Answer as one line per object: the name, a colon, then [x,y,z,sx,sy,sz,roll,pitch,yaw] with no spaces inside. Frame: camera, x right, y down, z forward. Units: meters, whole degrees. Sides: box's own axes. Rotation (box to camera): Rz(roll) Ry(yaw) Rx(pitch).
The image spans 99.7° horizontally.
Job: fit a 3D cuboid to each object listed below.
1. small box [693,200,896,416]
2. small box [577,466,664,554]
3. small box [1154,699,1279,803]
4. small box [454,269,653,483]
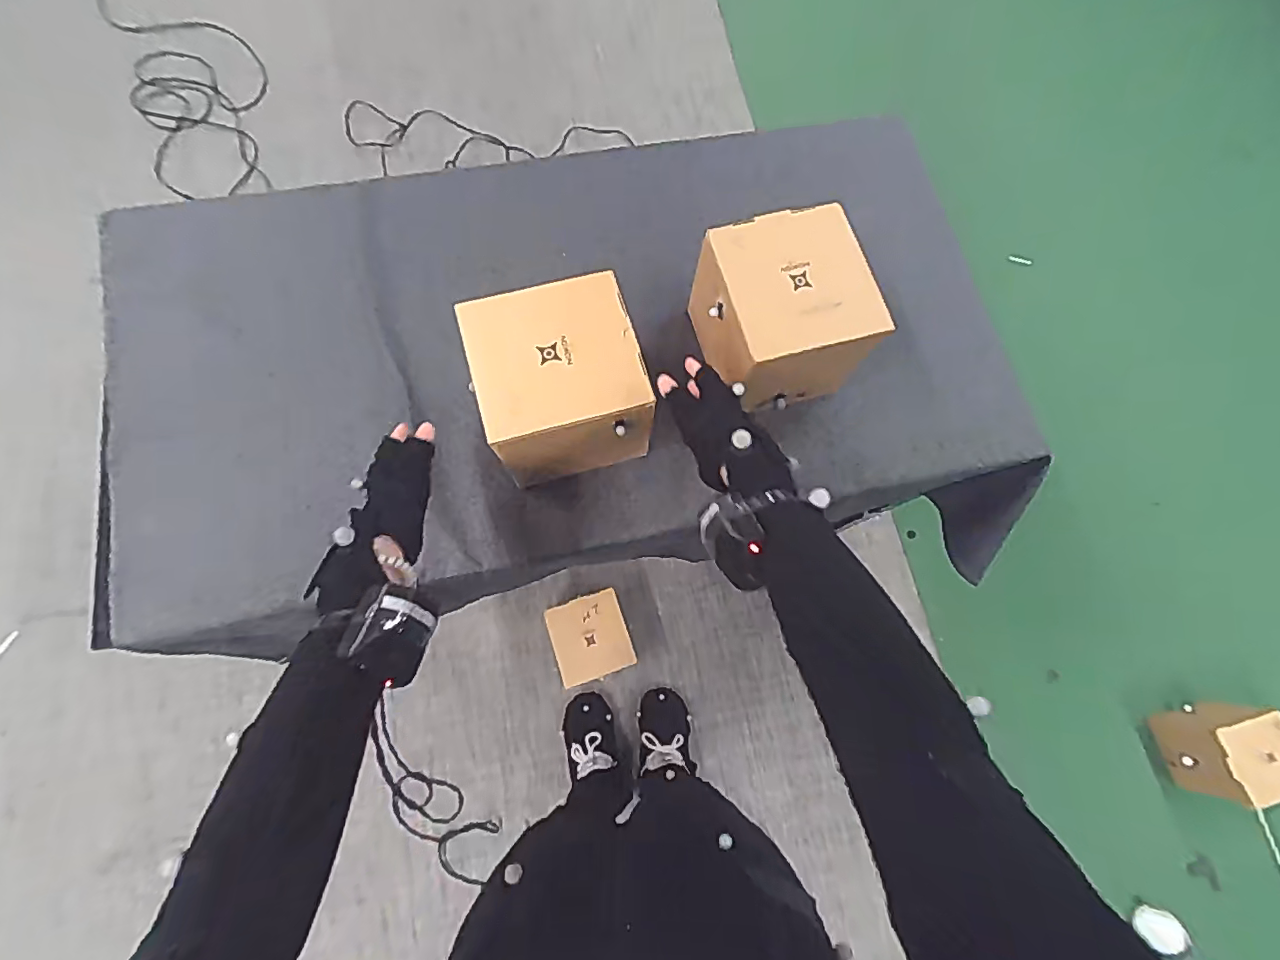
small box: [0.172,-0.202,0.667,0.168,0.176,0.179,-14,76,-6]
small box: [-0.050,0.079,1.332,0.179,0.176,0.168,-13,76,-5]
small box: [1.369,0.624,1.264,0.179,0.176,0.168,-12,76,-5]
small box: [-0.093,-0.109,0.630,0.179,0.176,0.168,-16,76,-7]
